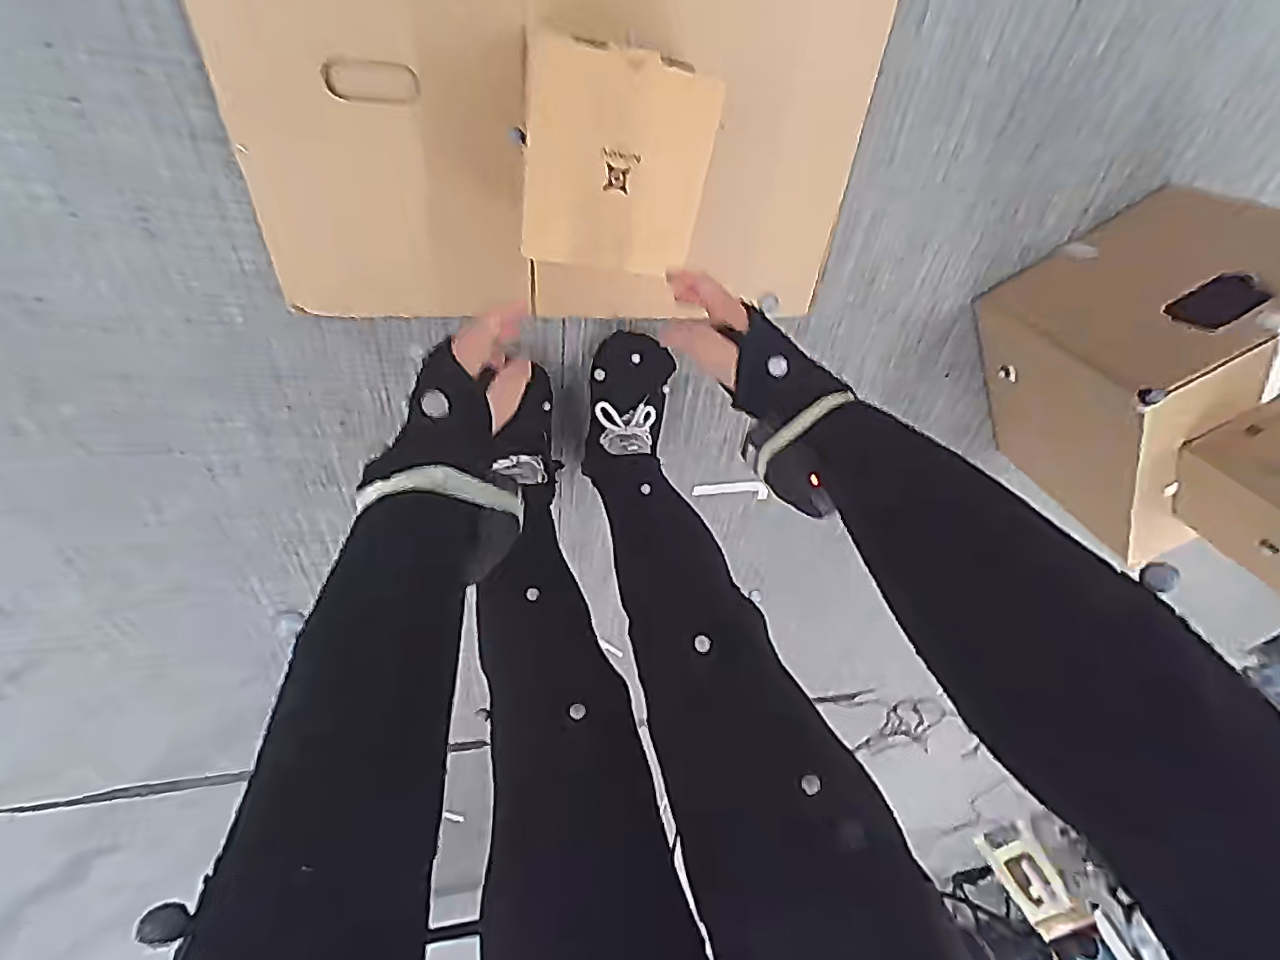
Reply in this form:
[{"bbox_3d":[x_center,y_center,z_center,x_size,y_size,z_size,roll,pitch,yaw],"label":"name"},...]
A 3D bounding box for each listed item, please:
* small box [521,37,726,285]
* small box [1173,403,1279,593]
[{"bbox_3d":[-0.032,-0.325,0.554,0.168,0.176,0.179,3,128,-14],"label":"small box"},{"bbox_3d":[0.819,0.015,0.666,0.168,0.176,0.179,-33,131,14],"label":"small box"}]
